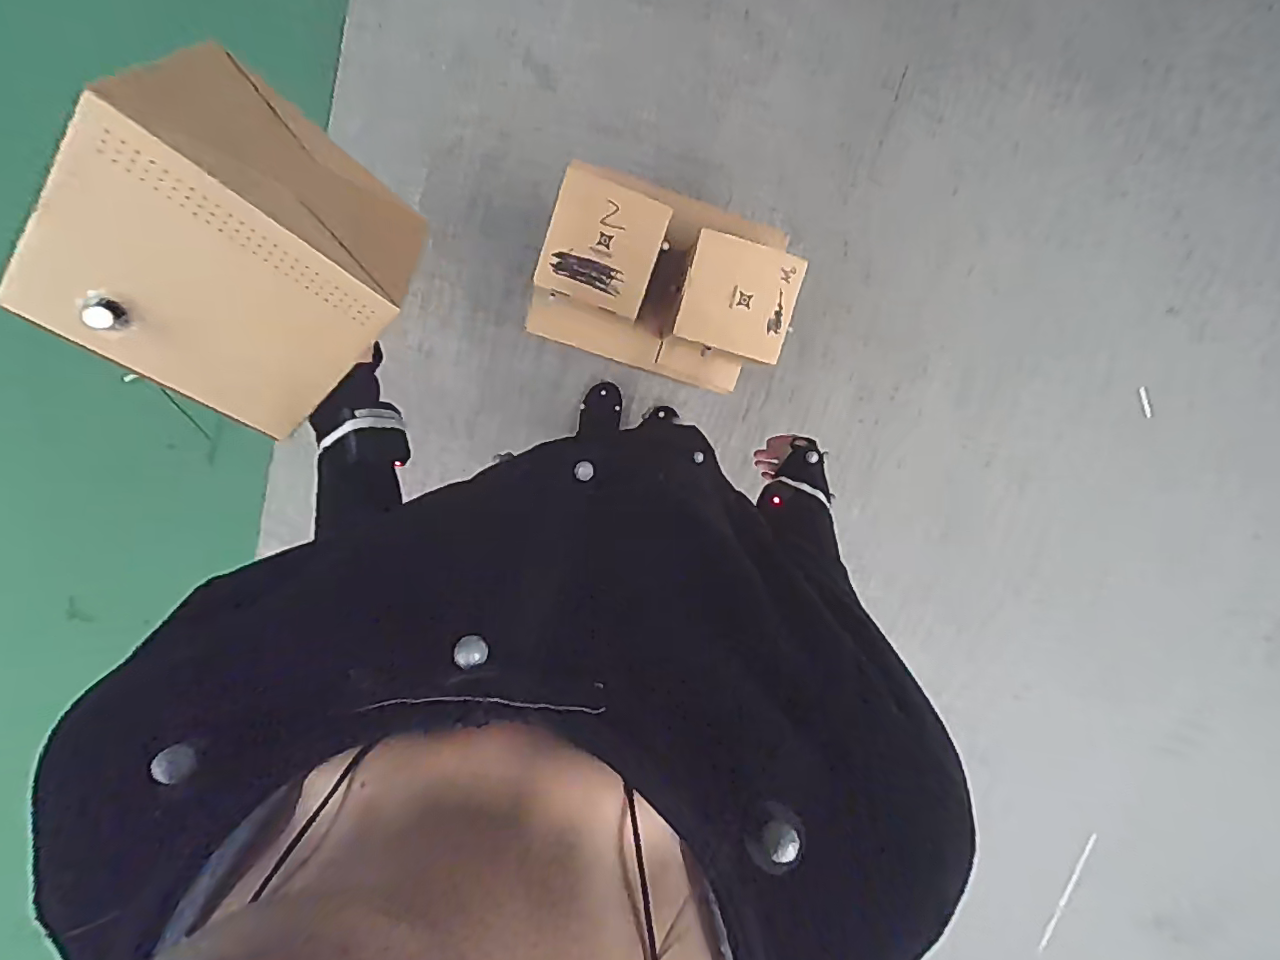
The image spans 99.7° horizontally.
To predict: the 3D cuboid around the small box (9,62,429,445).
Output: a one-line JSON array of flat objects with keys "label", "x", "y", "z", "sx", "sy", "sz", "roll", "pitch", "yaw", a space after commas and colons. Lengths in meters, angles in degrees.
[{"label": "small box", "x": -0.293, "y": -0.166, "z": 0.413, "sx": 0.176, "sy": 0.168, "sz": 0.179, "roll": -35, "pitch": 132, "yaw": 24}]
